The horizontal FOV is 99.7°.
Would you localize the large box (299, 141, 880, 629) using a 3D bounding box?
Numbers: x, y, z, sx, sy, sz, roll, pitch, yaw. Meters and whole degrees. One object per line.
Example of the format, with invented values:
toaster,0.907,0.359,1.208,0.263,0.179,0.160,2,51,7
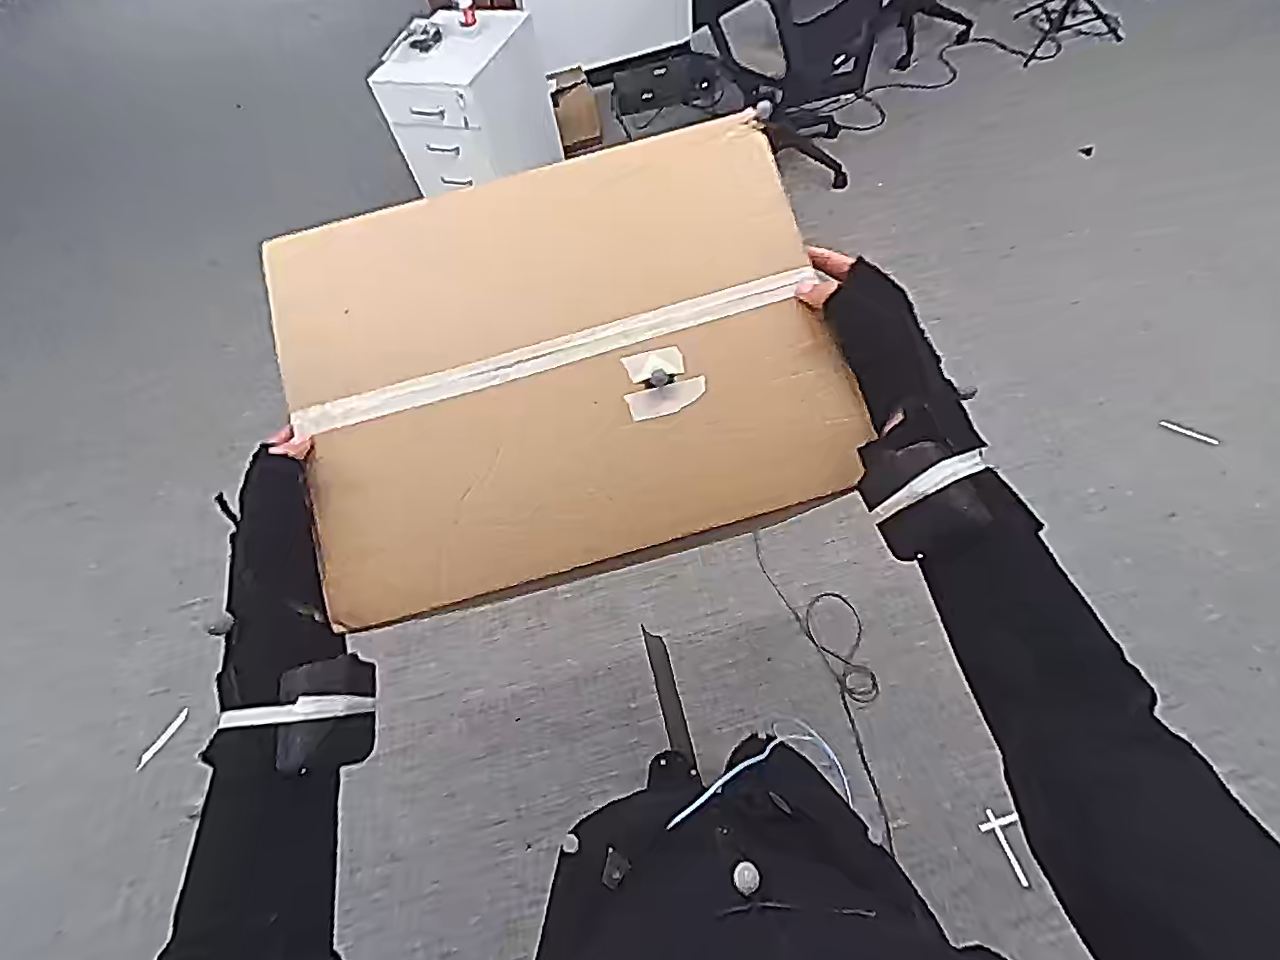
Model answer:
large box,-0.048,-0.061,0.566,0.408,0.320,0.320,-15,81,-2
